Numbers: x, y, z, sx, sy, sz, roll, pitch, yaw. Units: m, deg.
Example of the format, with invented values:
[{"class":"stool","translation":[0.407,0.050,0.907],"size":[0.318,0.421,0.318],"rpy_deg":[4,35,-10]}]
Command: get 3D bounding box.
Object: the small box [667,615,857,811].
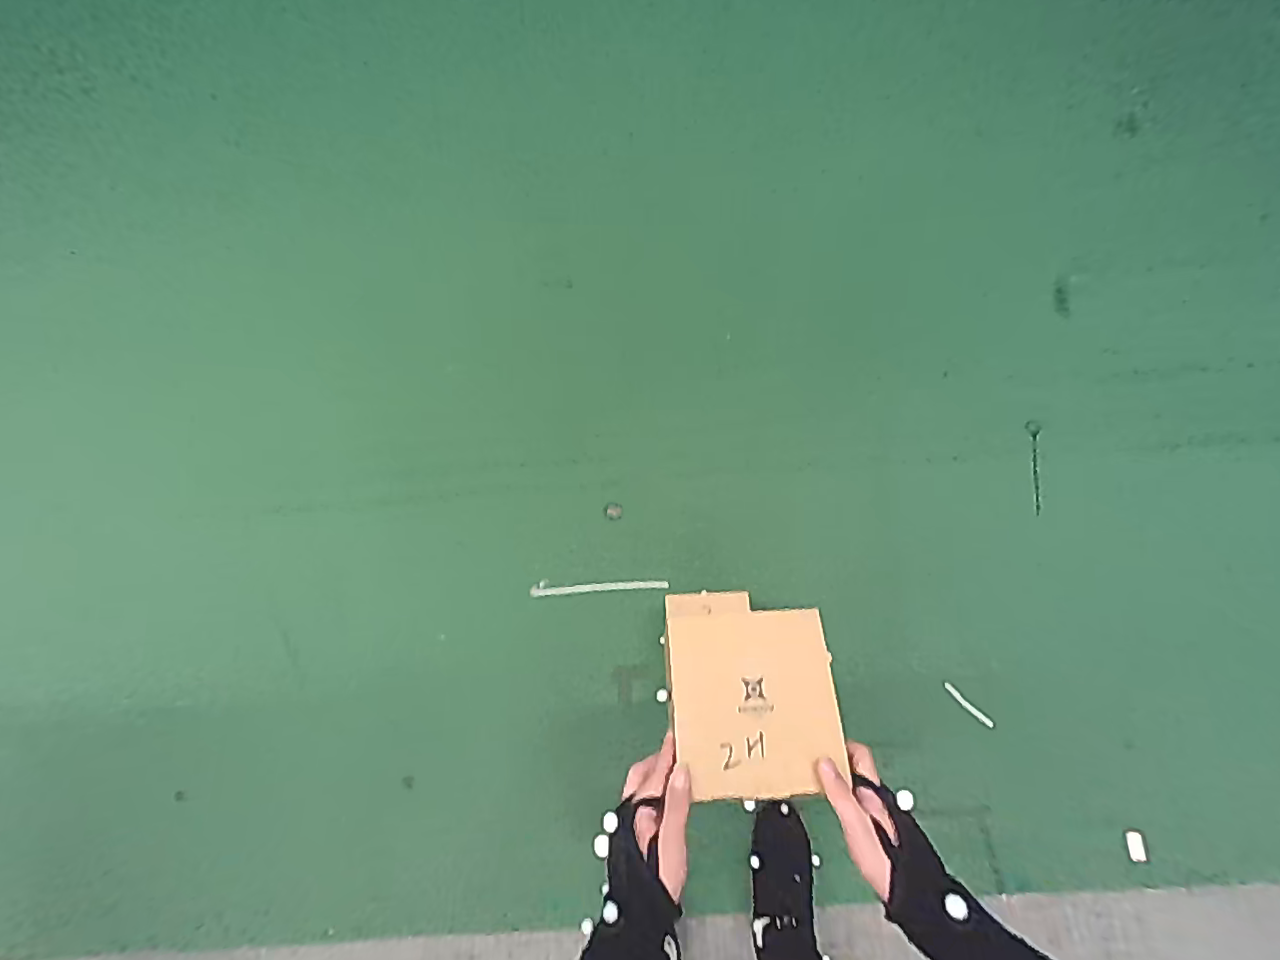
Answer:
[{"class":"small box","translation":[0.117,0.258,0.601],"size":[0.168,0.176,0.179],"rpy_deg":[-3,63,1]}]
